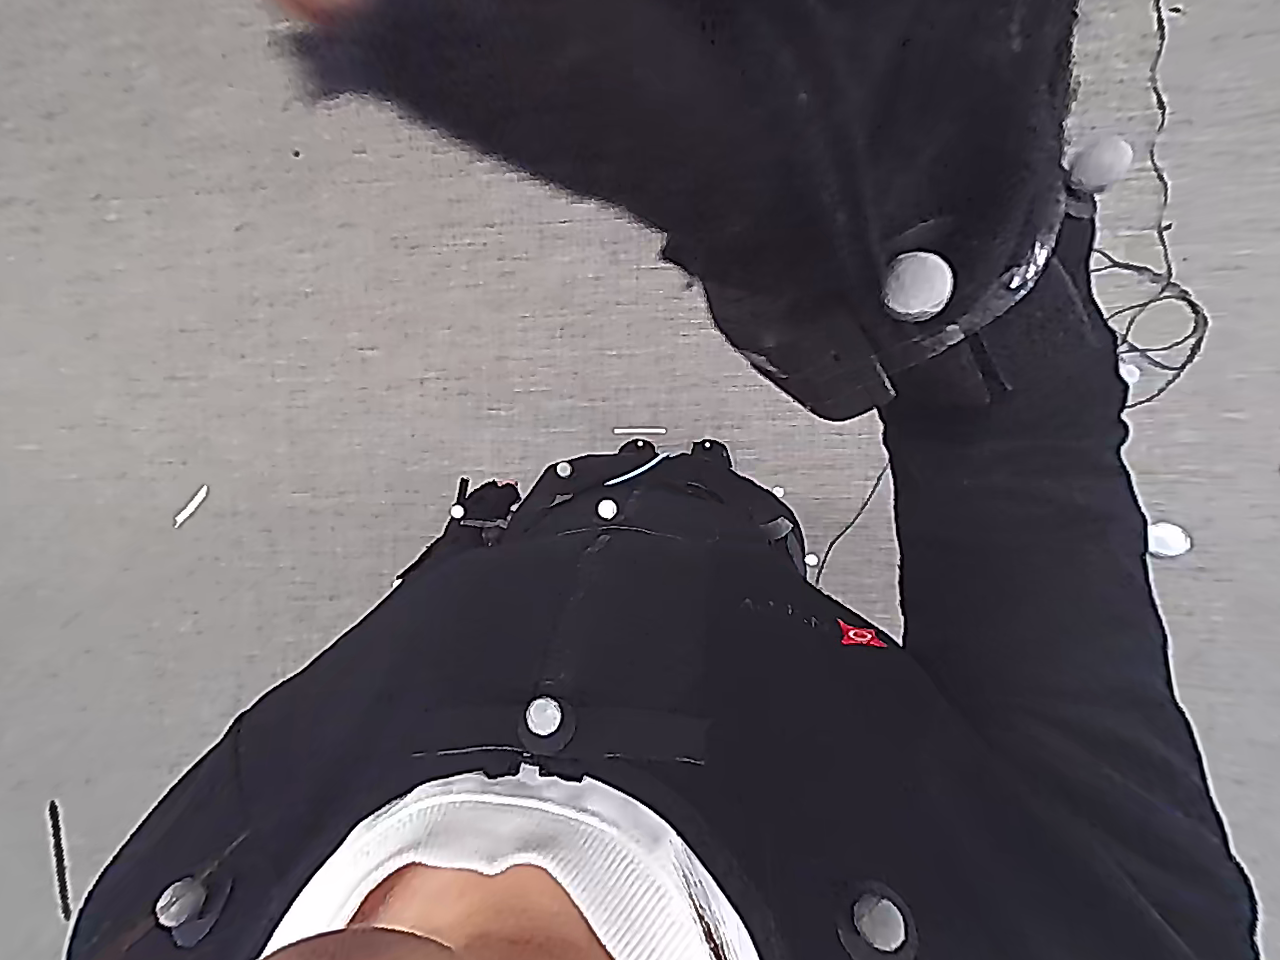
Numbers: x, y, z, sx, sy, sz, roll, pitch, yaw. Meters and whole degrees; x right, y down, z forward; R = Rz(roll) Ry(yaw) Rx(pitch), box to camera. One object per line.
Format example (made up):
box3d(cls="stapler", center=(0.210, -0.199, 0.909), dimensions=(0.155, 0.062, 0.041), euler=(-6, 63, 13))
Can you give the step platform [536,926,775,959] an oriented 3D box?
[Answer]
box3d(cls="step platform", center=(0.040, 1.440, 1.466), dimensions=(0.684, 0.204, 0.286), euler=(-2, 94, 6))
